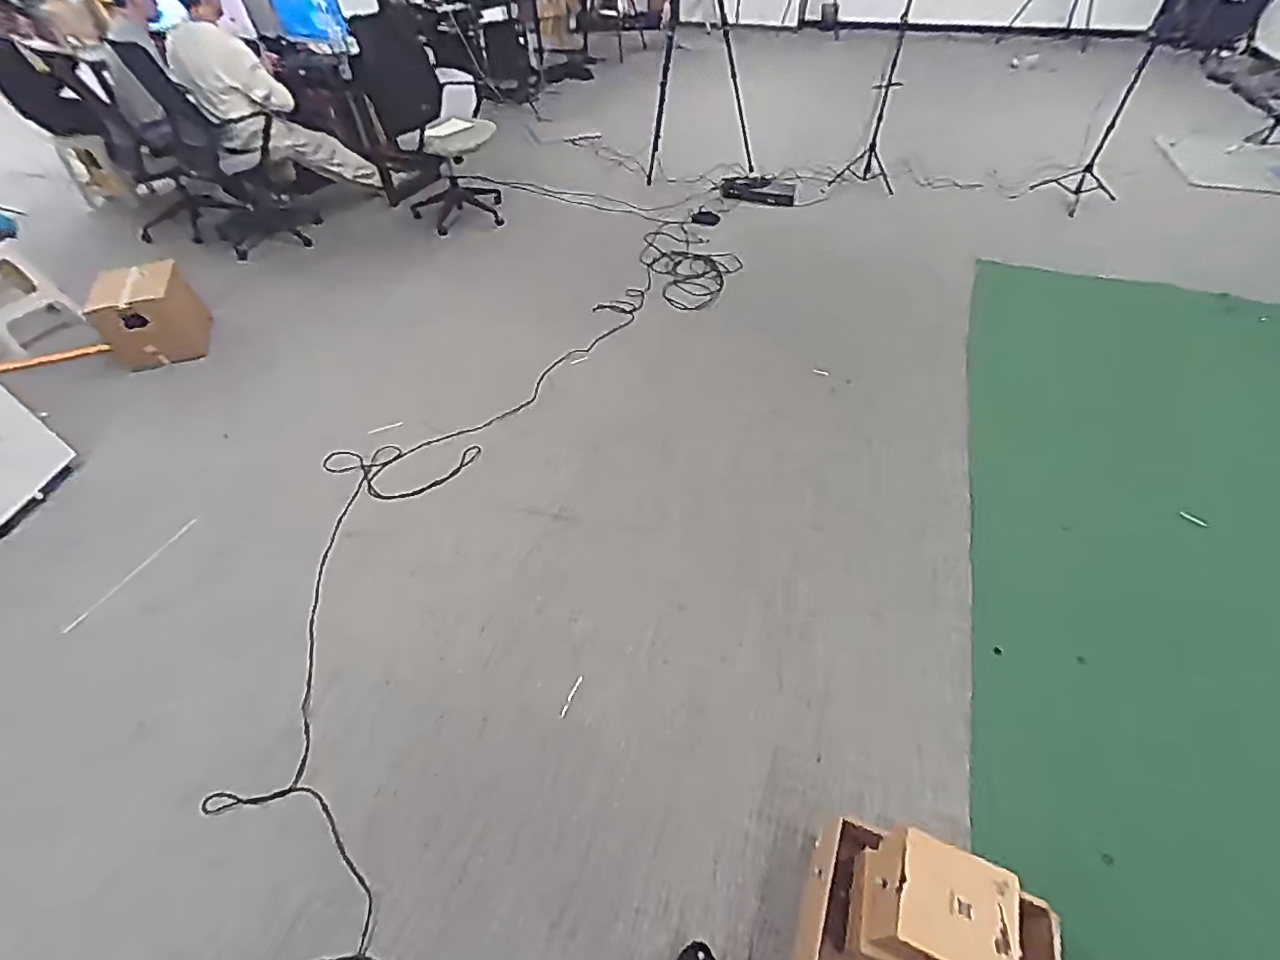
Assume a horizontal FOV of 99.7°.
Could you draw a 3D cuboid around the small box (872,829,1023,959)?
[{"bbox_3d":[0.505,0.729,0.904,0.179,0.176,0.168,17,51,19],"label":"small box"}]
